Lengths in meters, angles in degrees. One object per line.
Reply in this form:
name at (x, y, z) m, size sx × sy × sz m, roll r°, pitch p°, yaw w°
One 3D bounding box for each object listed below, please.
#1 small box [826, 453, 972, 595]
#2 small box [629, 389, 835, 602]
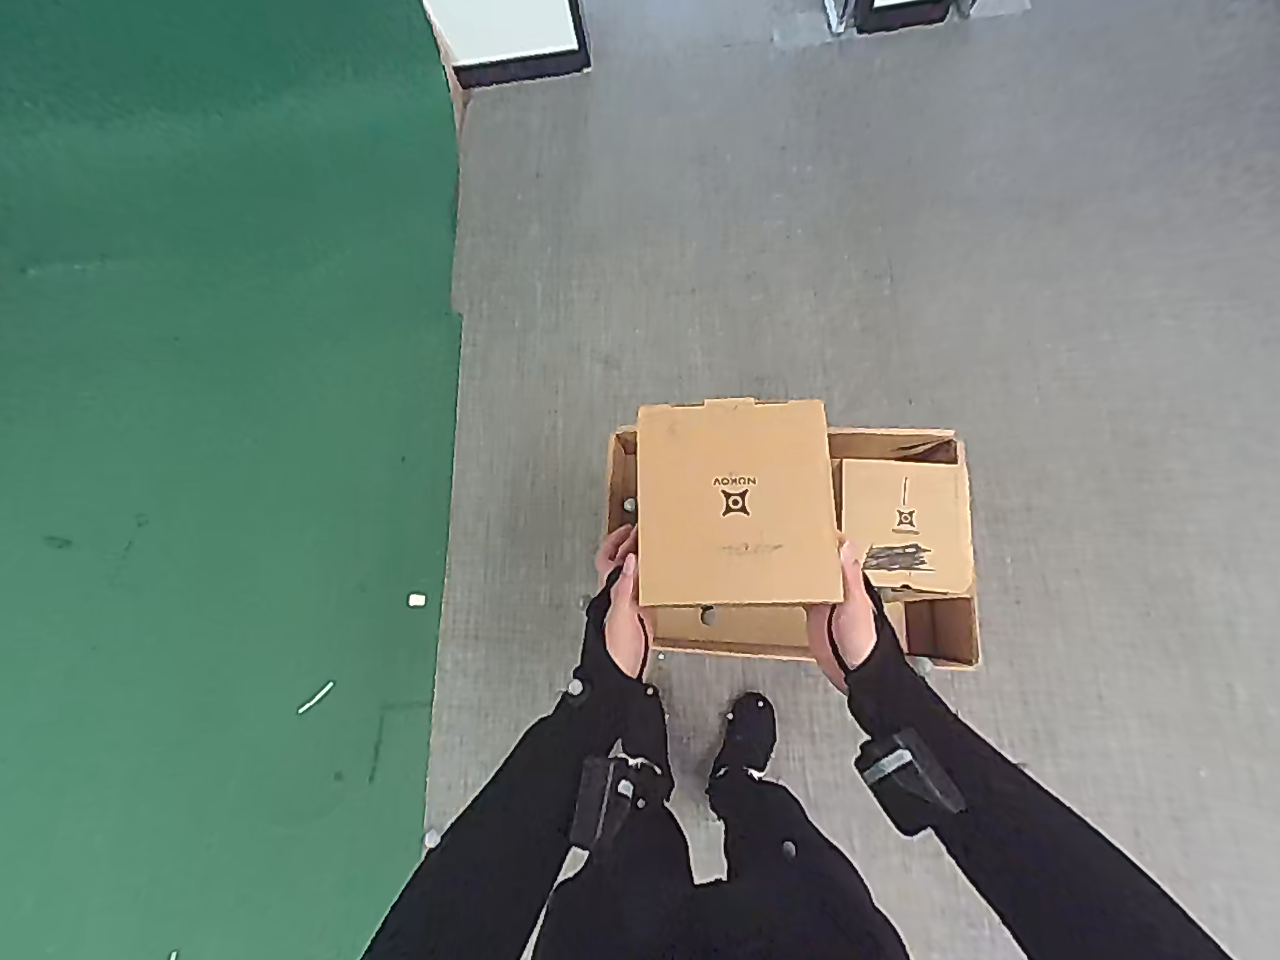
small box at (0.355, 0.071, 0.783) m, size 0.168 × 0.176 × 0.179 m, roll 4°, pitch 76°, yaw 8°
small box at (0.076, 0.026, 0.526) m, size 0.168 × 0.176 × 0.179 m, roll -1°, pitch 76°, yaw 3°
